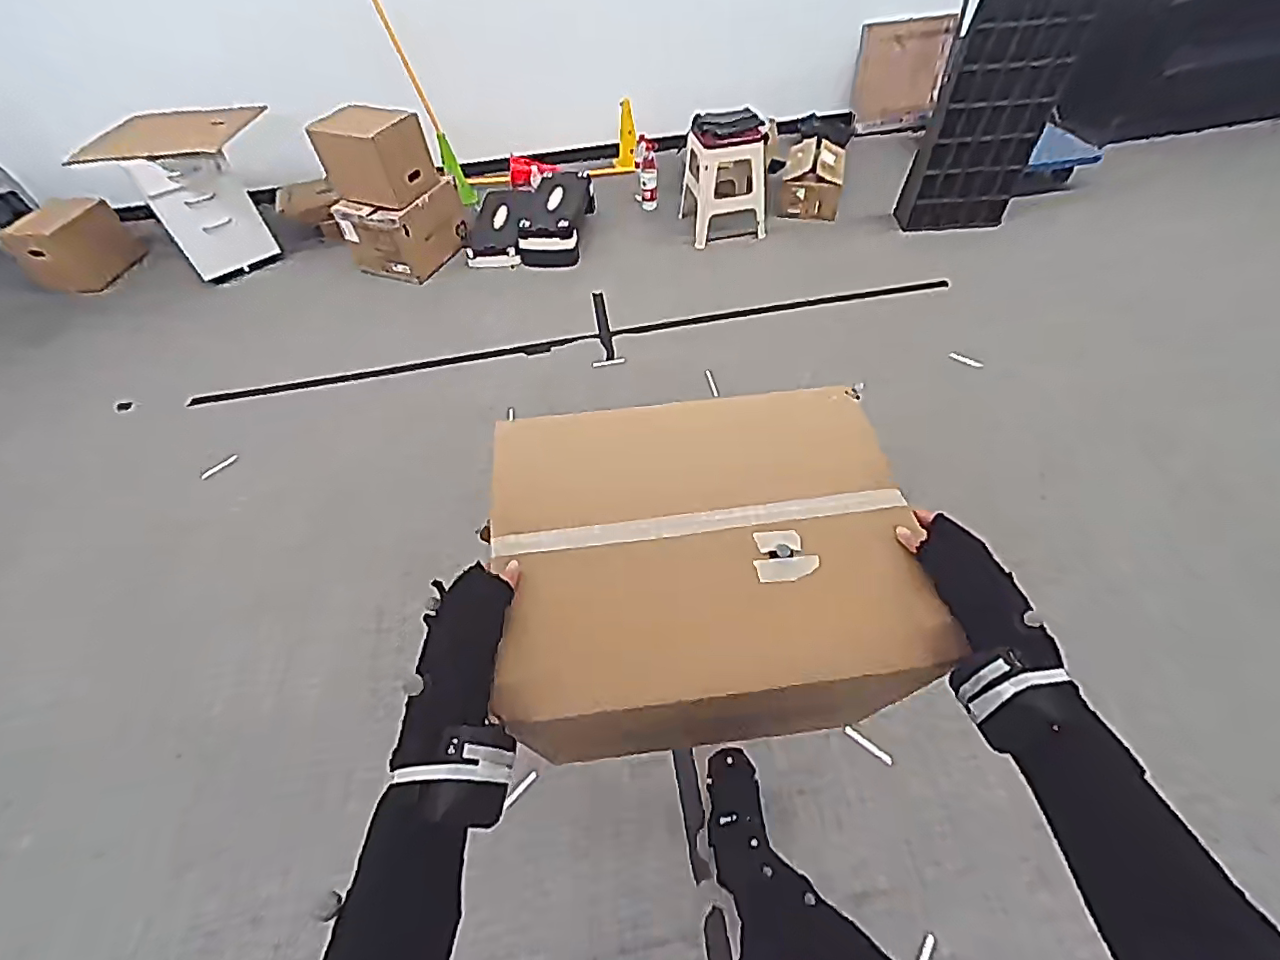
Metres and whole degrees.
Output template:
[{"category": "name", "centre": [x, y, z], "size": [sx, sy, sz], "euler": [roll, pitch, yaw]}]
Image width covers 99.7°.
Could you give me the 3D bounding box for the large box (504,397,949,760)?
[{"category": "large box", "centre": [0.062, 0.133, 0.673], "size": [0.408, 0.320, 0.320], "euler": [-7, 58, -4]}]
